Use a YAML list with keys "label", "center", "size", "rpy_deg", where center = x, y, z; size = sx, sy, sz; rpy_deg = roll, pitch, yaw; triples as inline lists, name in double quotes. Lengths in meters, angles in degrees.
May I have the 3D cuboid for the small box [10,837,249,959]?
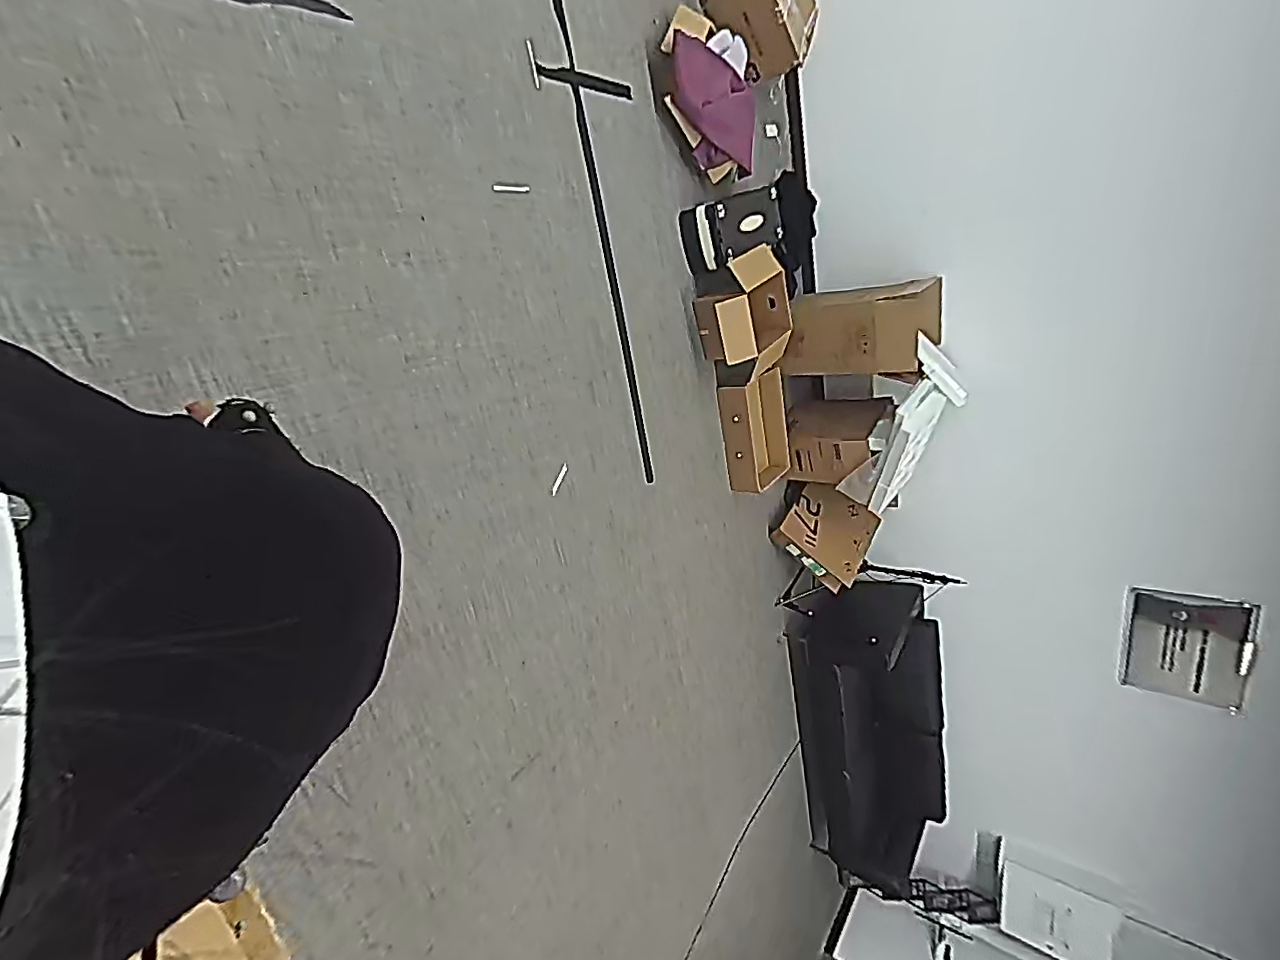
- label: "small box"
  center: [-0.598, 0.583, 0.649]
  size: [0.168, 0.176, 0.179]
  rpy_deg: [-29, 112, -46]
